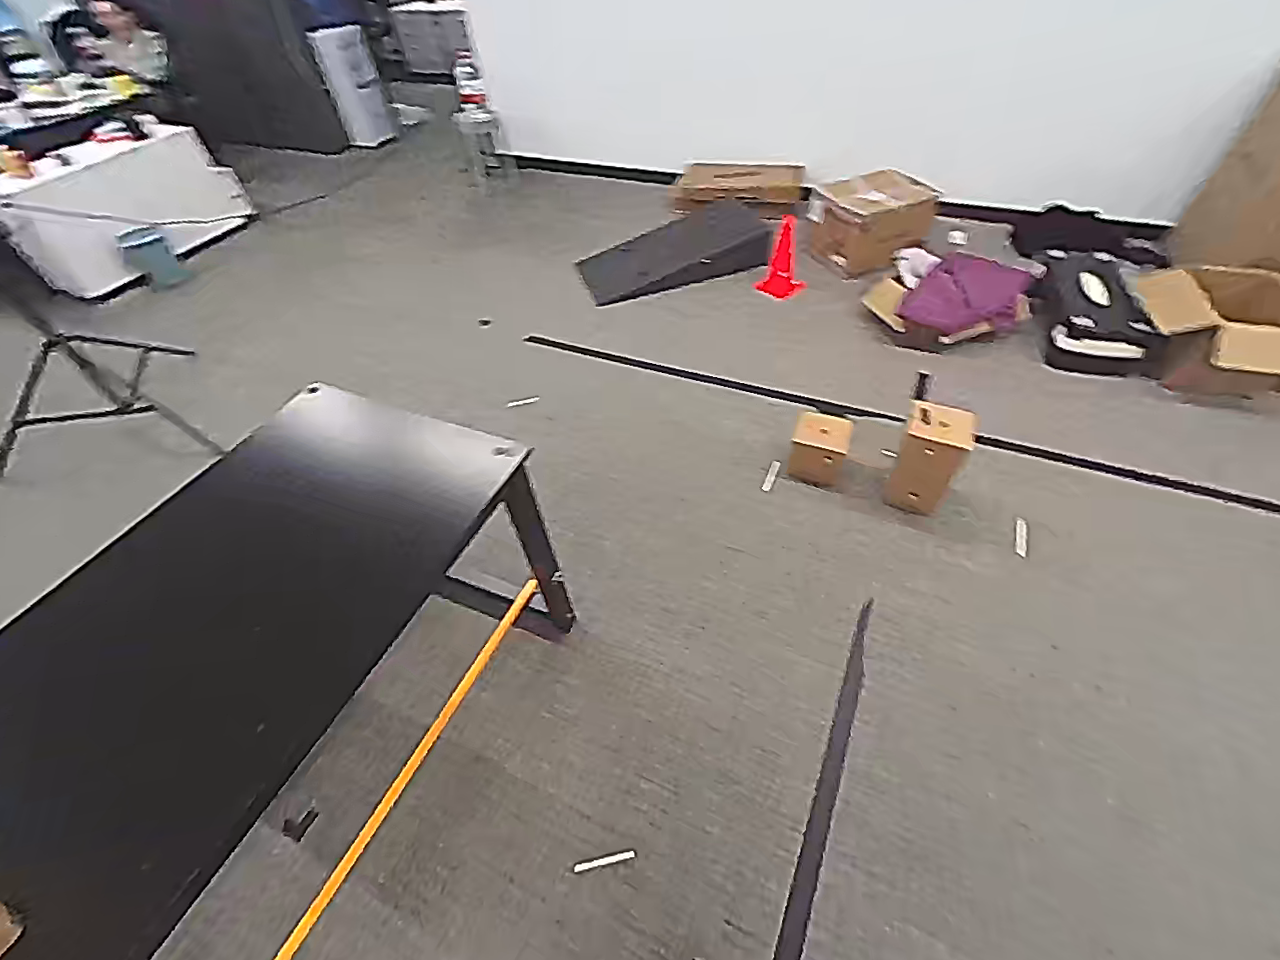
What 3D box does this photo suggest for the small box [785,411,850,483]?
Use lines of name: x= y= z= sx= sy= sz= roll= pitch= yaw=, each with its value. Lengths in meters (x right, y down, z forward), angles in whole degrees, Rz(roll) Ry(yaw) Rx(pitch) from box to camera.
small box: x=0.624 y=-0.113 z=1.912 sx=0.179 sy=0.176 sz=0.168 roll=15 pitch=51 yaw=18

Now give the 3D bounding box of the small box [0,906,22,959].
small box: x=-0.810 y=0.497 z=0.535 sx=0.179 sy=0.176 sz=0.168 roll=18 pitch=54 yaw=18

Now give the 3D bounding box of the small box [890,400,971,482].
small box: x=0.895 y=-0.118 z=1.676 sx=0.179 sy=0.176 sz=0.168 roll=17 pitch=53 yaw=17

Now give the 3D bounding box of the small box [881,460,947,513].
small box: x=0.921 y=-0.018 z=1.808 sx=0.168 sy=0.176 sz=0.179 roll=19 pitch=54 yaw=19
